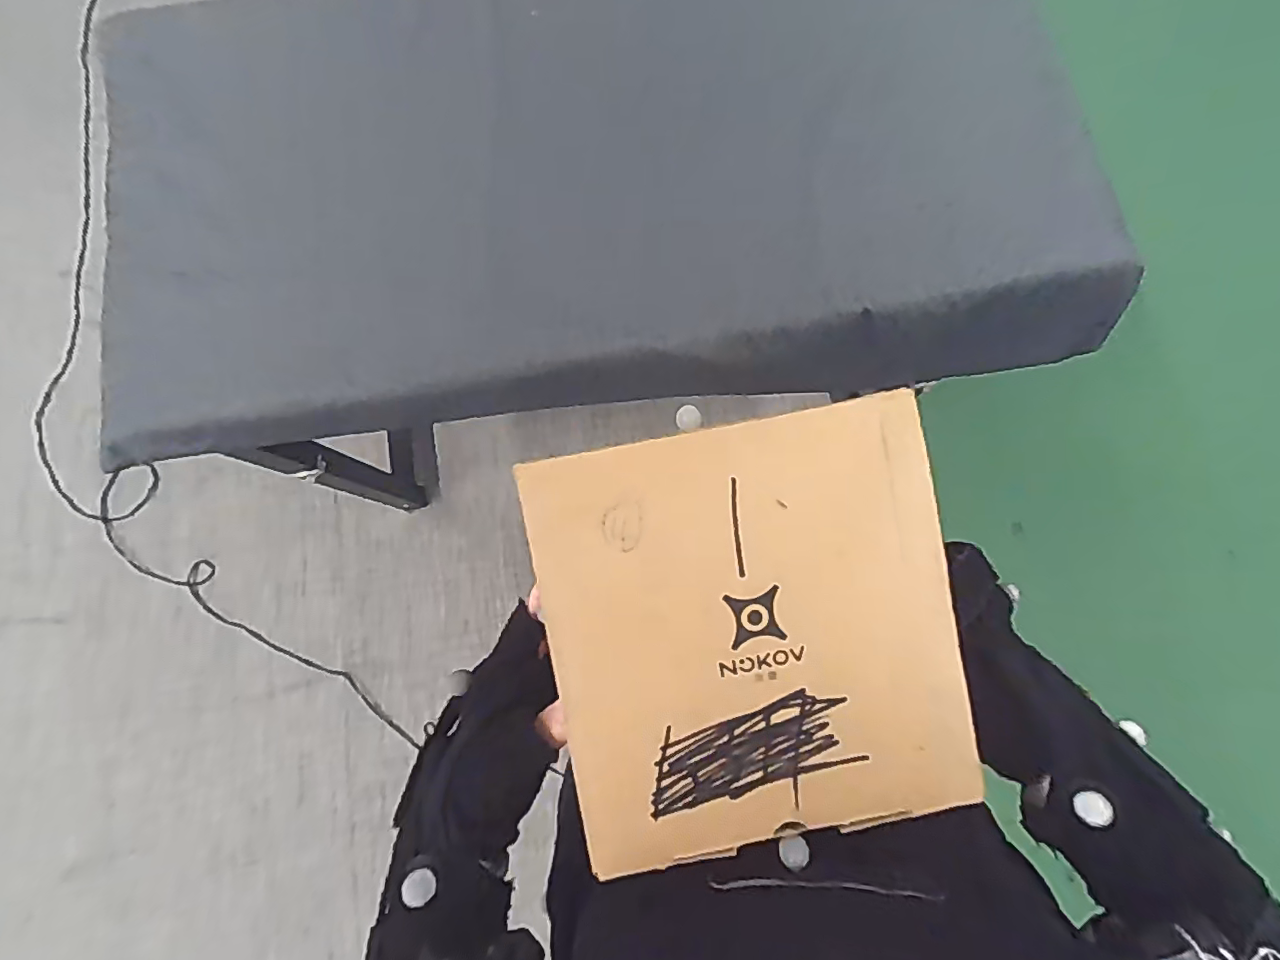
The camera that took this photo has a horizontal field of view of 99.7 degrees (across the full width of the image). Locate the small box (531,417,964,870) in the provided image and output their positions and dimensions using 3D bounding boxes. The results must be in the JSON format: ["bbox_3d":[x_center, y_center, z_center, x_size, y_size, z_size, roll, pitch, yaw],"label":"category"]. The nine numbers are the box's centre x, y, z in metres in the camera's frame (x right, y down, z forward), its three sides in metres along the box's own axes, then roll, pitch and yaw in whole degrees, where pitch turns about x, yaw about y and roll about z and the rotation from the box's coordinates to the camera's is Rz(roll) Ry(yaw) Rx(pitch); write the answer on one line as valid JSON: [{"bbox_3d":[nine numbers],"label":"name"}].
[{"bbox_3d":[0.045,0.067,0.309,0.168,0.176,0.179,-10,92,-2],"label":"small box"}]
